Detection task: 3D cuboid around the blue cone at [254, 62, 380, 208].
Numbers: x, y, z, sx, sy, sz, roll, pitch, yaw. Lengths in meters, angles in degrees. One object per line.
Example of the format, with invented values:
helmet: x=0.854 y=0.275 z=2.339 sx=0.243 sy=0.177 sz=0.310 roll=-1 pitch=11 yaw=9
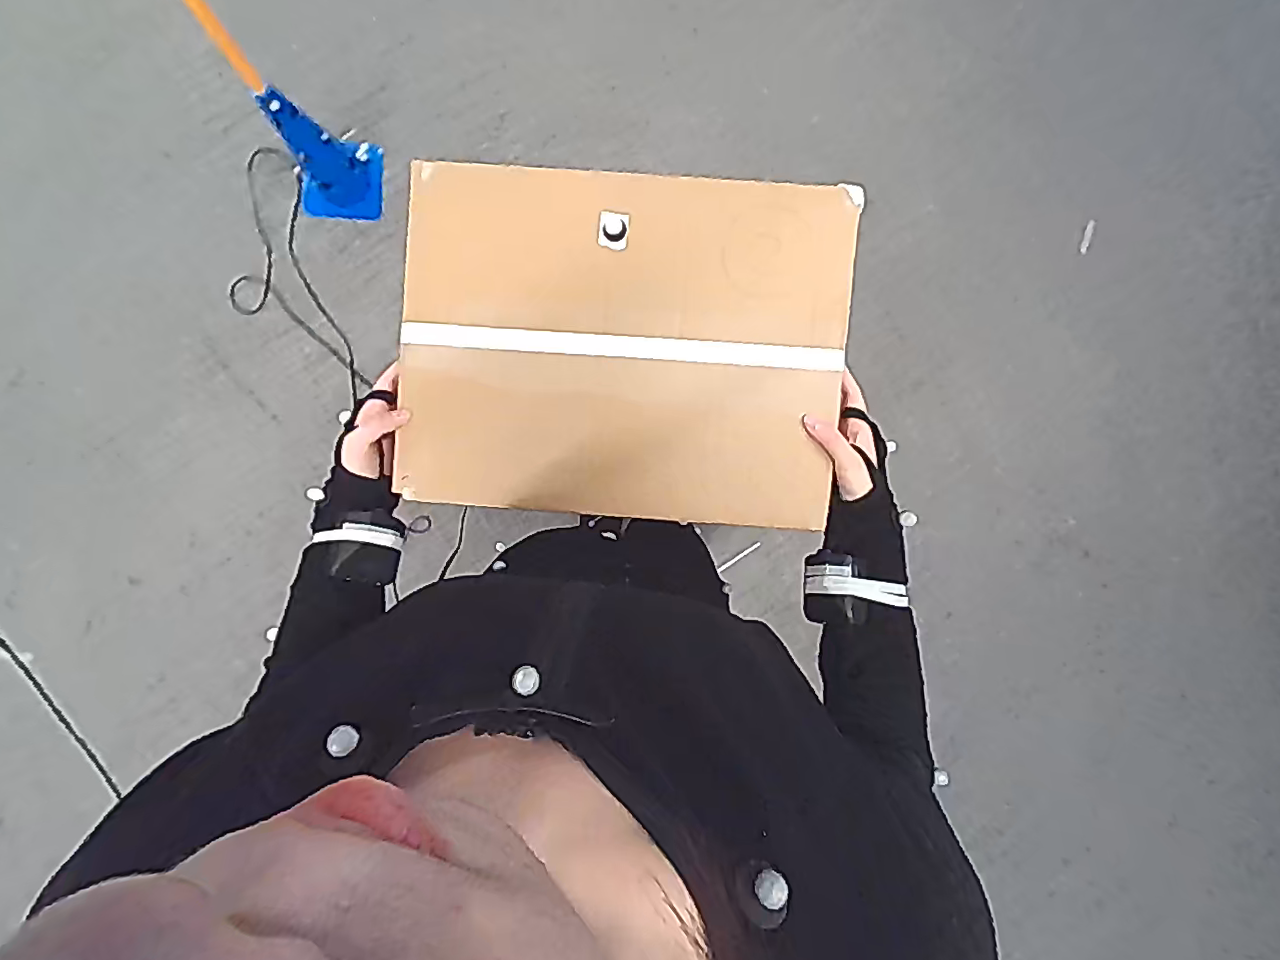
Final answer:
blue cone: x=-0.752 y=-0.791 z=1.222 sx=0.192 sy=0.380 sz=0.193 roll=0 pitch=91 yaw=-5
